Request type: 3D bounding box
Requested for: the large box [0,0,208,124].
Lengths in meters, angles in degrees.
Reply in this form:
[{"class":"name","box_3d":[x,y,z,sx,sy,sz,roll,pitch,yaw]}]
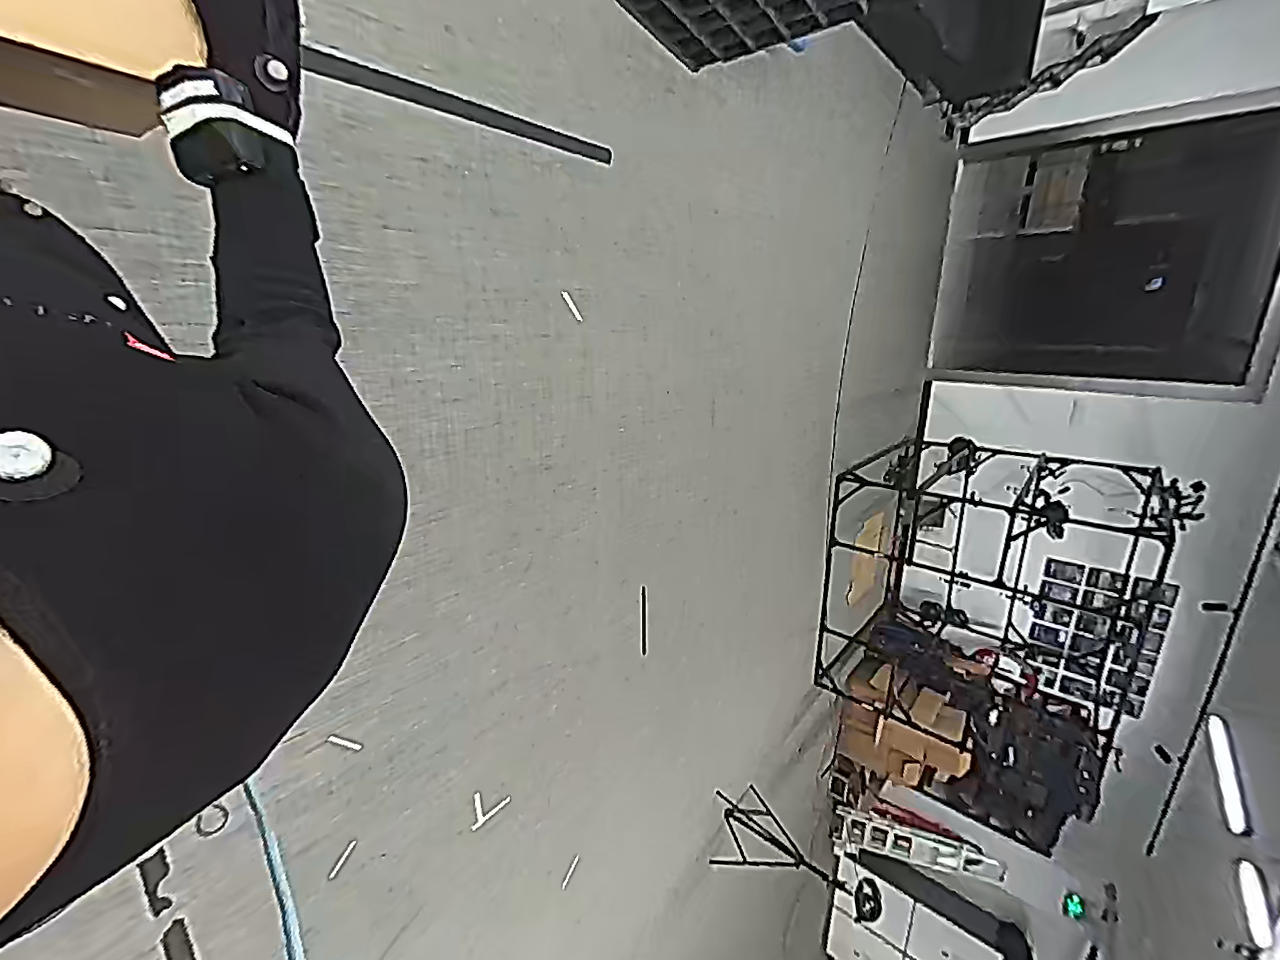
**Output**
[{"class":"large box","box_3d":[-0.560,-0.455,0.314,0.408,0.320,0.320,-14,118,-48]}]
